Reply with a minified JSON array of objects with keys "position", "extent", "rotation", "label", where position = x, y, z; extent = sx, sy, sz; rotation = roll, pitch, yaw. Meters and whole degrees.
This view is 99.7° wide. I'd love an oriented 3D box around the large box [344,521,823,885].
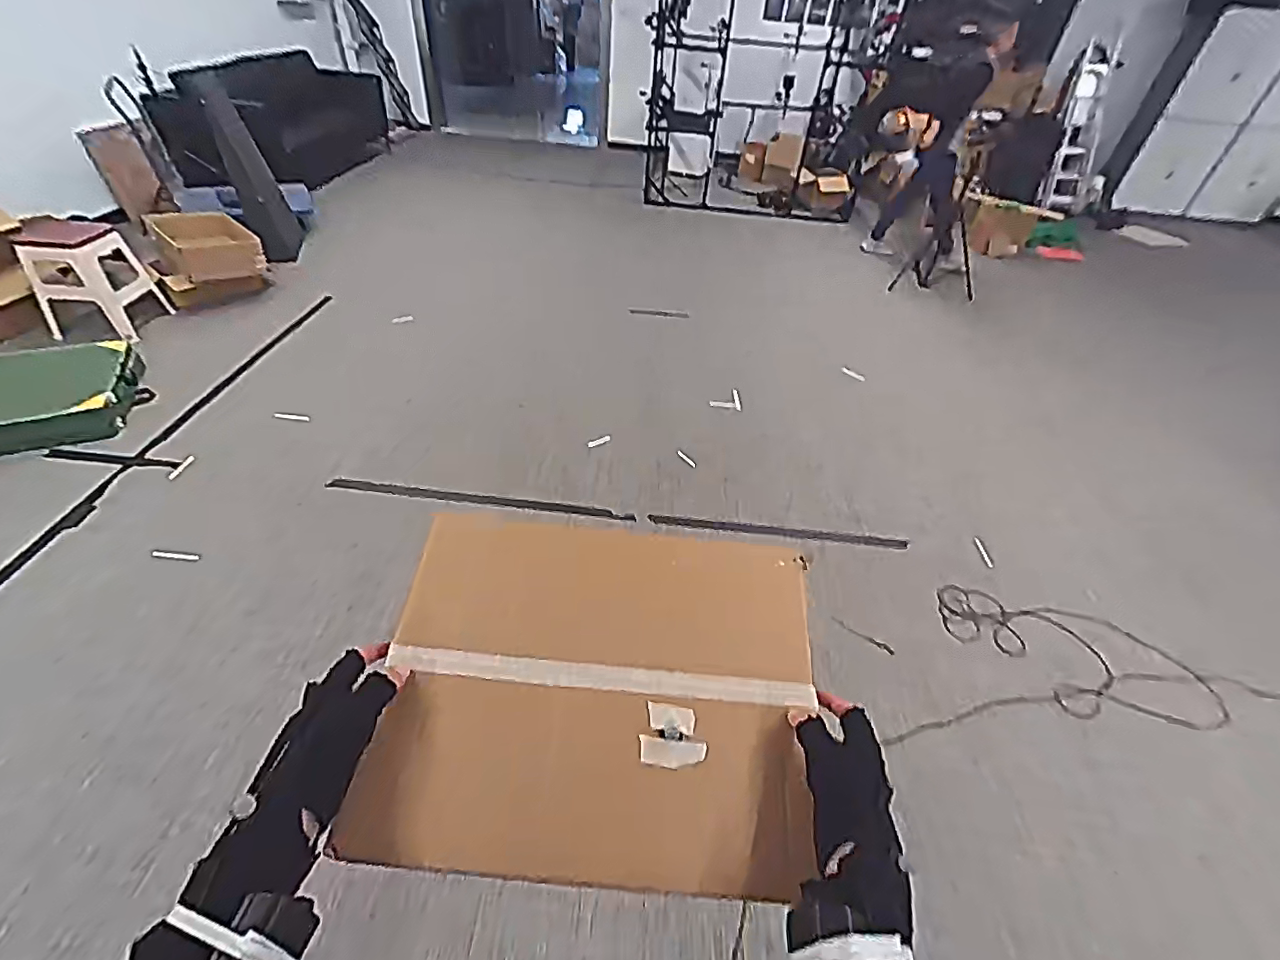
[{"position":[-0.048,0.273,0.647],"extent":[0.408,0.320,0.320],"rotation":[6,56,-1],"label":"large box"}]
